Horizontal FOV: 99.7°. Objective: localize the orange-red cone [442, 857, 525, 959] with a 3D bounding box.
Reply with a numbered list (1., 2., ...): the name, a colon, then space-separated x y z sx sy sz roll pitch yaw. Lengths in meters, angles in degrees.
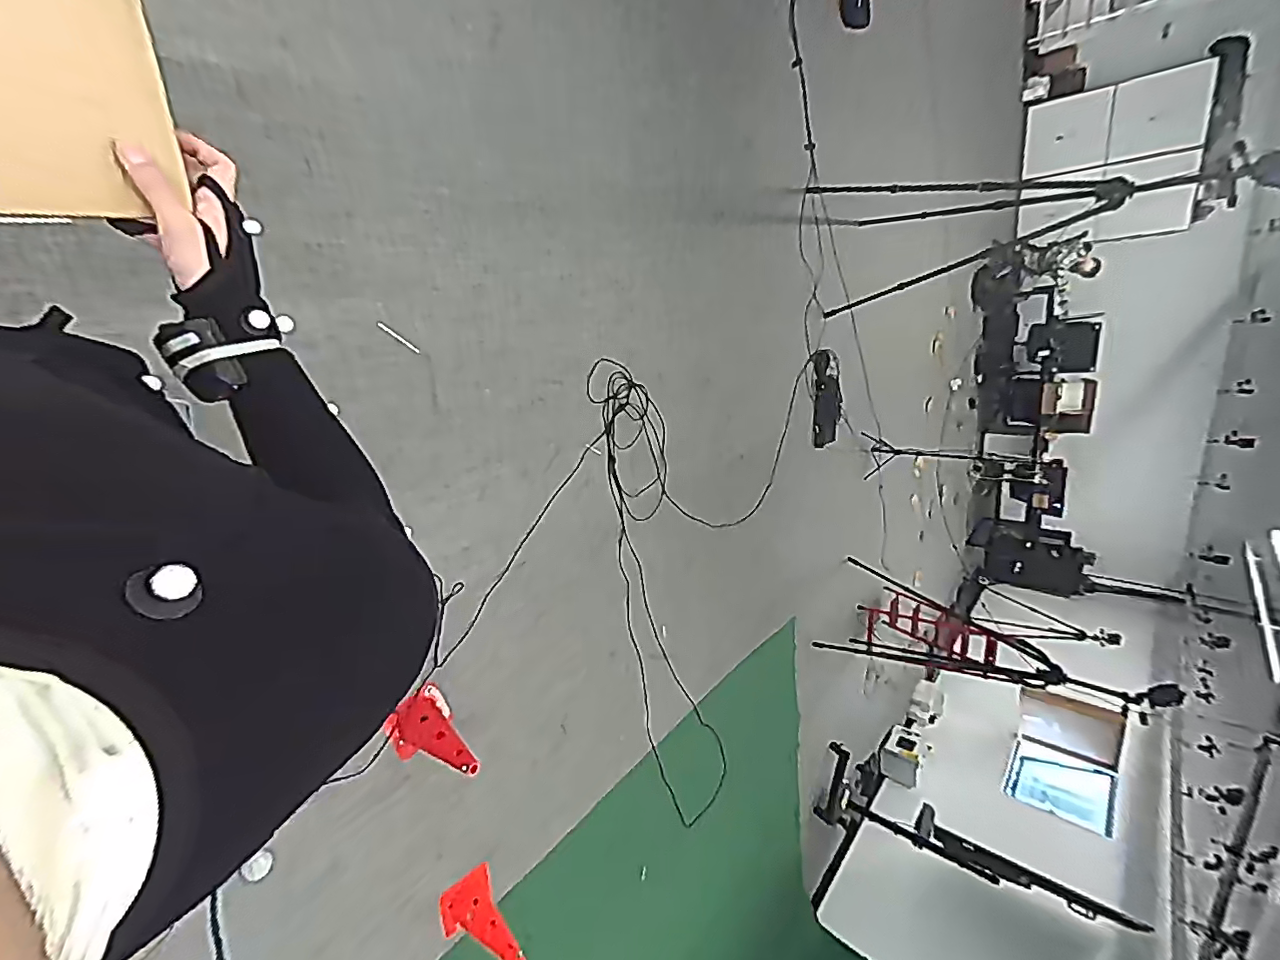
1. orange-red cone: -0.539 1.601 1.965 0.199 0.360 0.198 -15 109 -47
